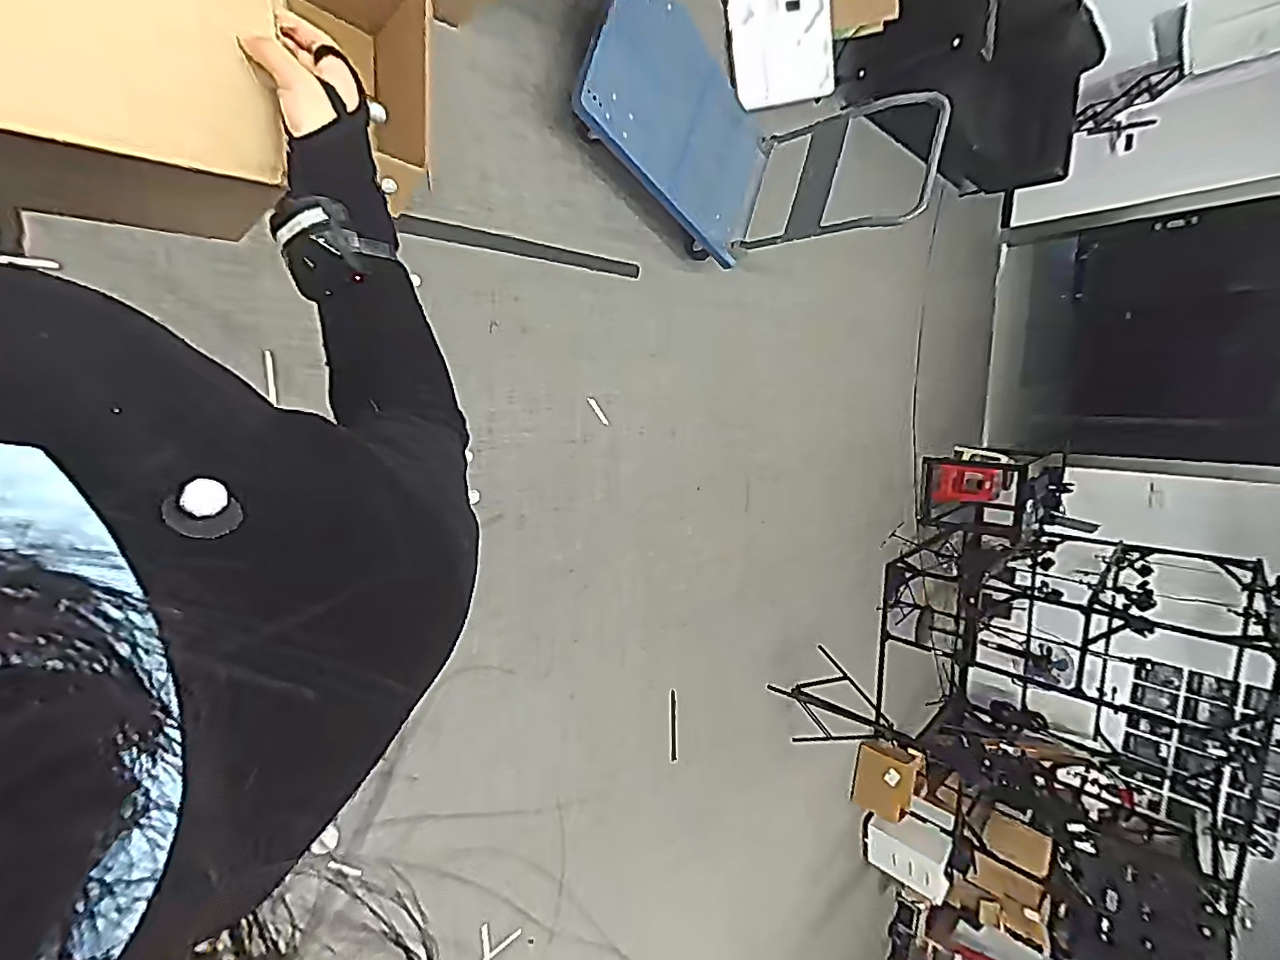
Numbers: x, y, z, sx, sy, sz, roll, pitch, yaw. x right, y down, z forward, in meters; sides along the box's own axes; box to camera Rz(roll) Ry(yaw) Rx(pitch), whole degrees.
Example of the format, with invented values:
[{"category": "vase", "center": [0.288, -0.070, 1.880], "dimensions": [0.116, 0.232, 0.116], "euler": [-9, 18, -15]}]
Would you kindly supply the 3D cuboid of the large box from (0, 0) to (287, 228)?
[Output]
[{"category": "large box", "center": [-0.534, -0.399, 0.395], "dimensions": [0.408, 0.320, 0.320], "euler": [-9, 105, -41]}]
